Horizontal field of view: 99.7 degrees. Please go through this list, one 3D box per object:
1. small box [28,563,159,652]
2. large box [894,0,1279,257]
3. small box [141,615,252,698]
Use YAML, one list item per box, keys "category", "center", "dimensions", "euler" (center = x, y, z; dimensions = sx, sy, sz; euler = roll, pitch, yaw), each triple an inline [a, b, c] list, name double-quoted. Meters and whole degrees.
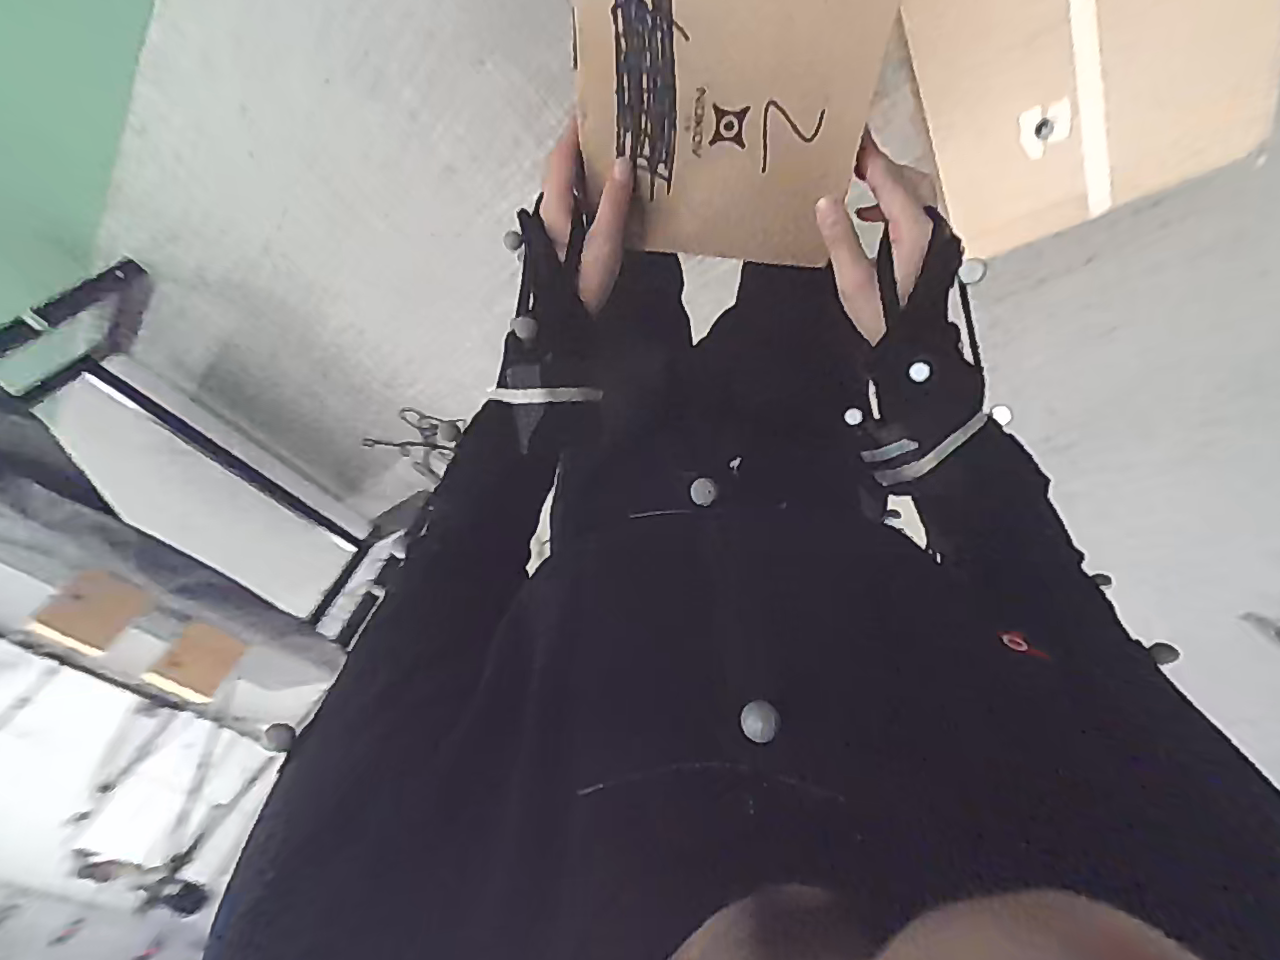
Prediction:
- category: "small box"
  center: [-1.456, 0.336, 1.445]
  dimensions: [0.168, 0.176, 0.179]
  euler: [-21, 127, 39]
- category: "large box"
  center: [0.518, -0.584, 0.674]
  dimensions: [0.320, 0.320, 0.408]
  euler: [-14, 130, 34]
- category: "small box"
  center: [-1.285, 0.516, 1.575]
  dimensions: [0.168, 0.176, 0.179]
  euler: [-22, 124, 38]
